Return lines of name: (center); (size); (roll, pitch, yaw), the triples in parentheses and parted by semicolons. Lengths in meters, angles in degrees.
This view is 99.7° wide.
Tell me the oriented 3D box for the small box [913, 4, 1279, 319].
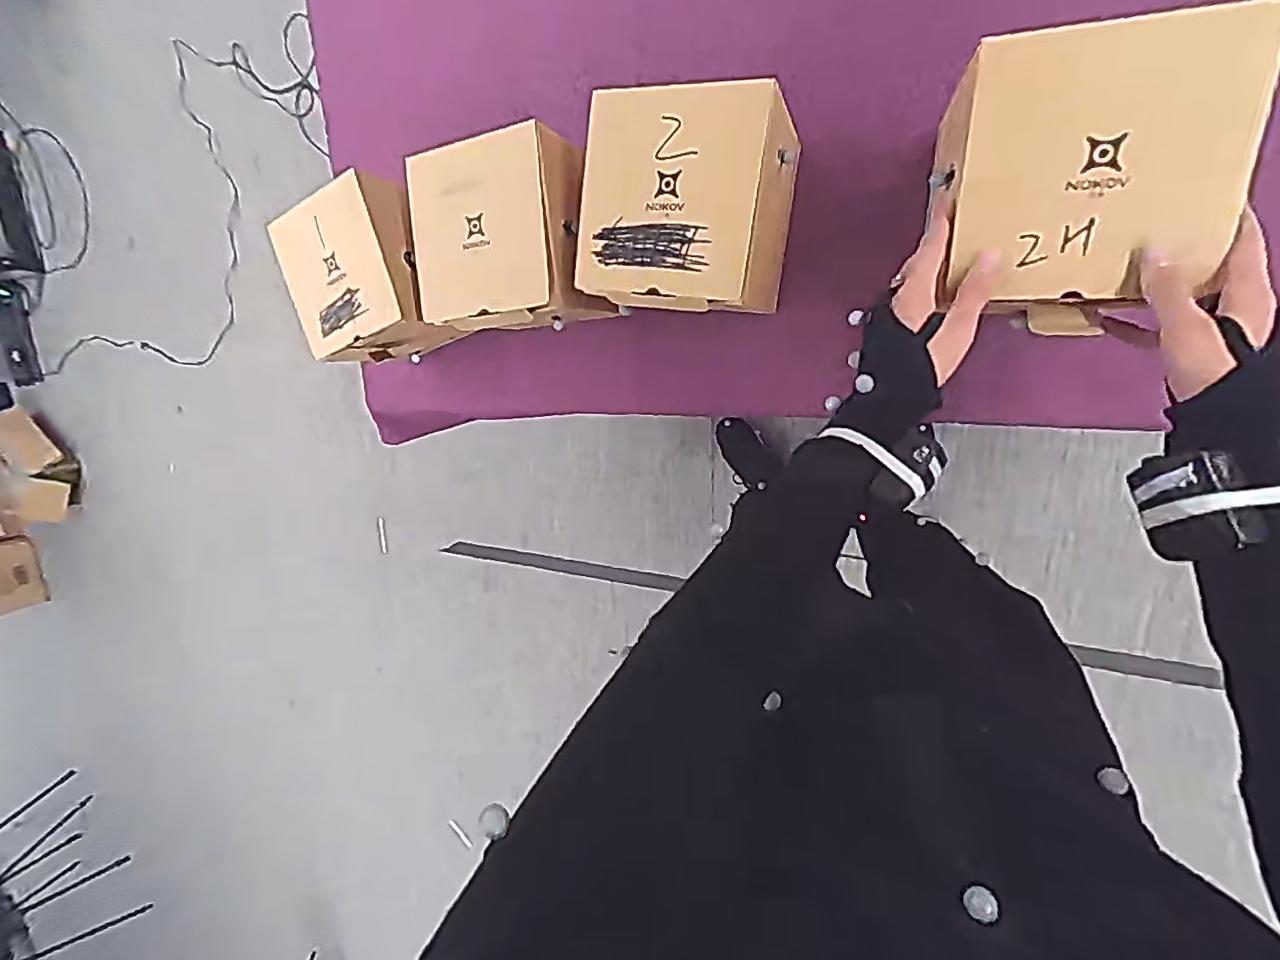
small box: (0.332, -0.227, 0.439); (0.168, 0.176, 0.179); (7, 106, 18)
